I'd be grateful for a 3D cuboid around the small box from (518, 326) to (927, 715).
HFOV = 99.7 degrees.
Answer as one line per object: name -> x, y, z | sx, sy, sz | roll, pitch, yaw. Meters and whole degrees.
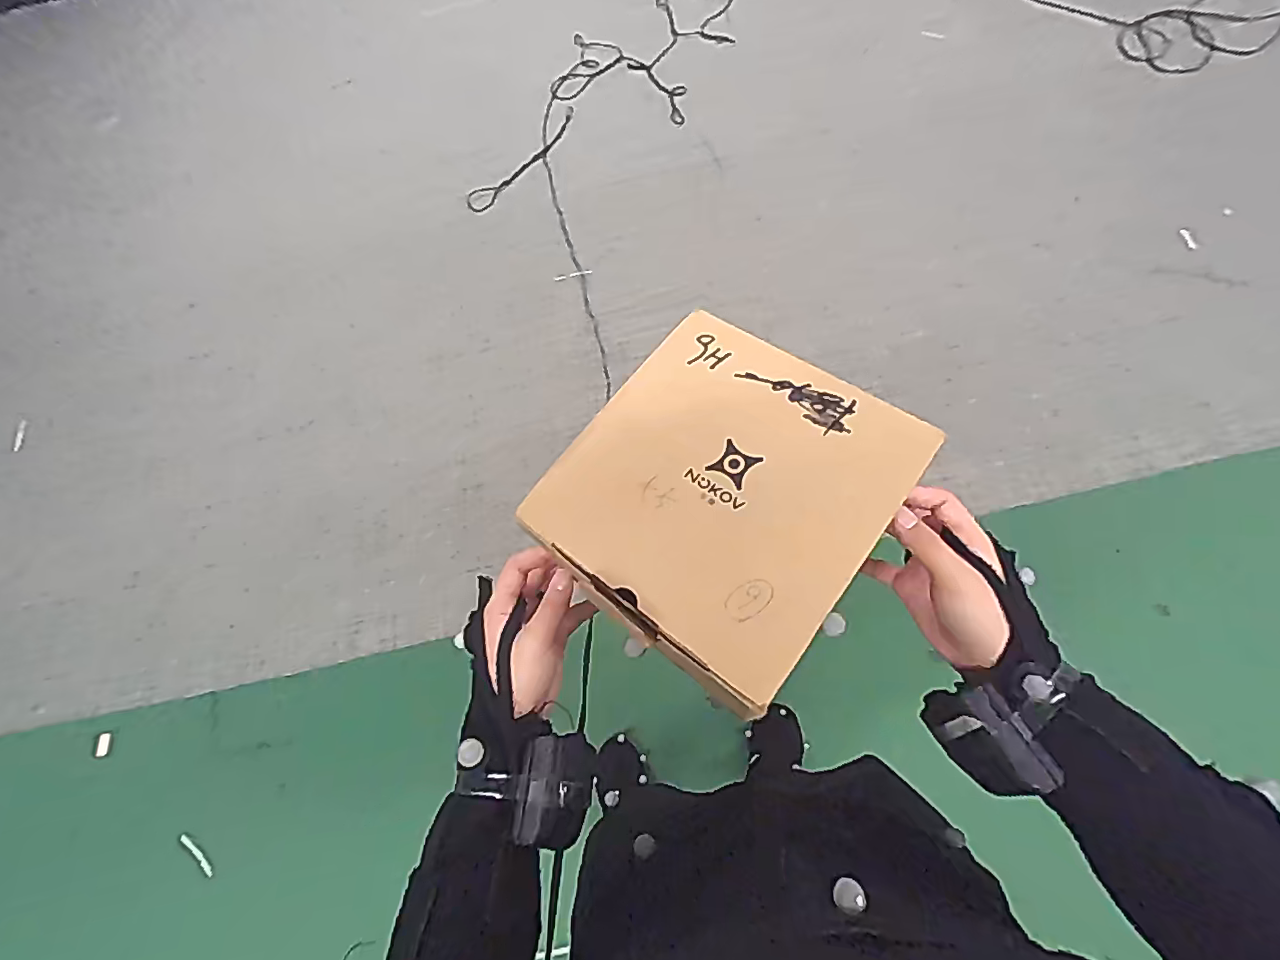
small box -> 0.055, 0.039, 0.372 | 0.168, 0.176, 0.179 | 34, 75, 21
